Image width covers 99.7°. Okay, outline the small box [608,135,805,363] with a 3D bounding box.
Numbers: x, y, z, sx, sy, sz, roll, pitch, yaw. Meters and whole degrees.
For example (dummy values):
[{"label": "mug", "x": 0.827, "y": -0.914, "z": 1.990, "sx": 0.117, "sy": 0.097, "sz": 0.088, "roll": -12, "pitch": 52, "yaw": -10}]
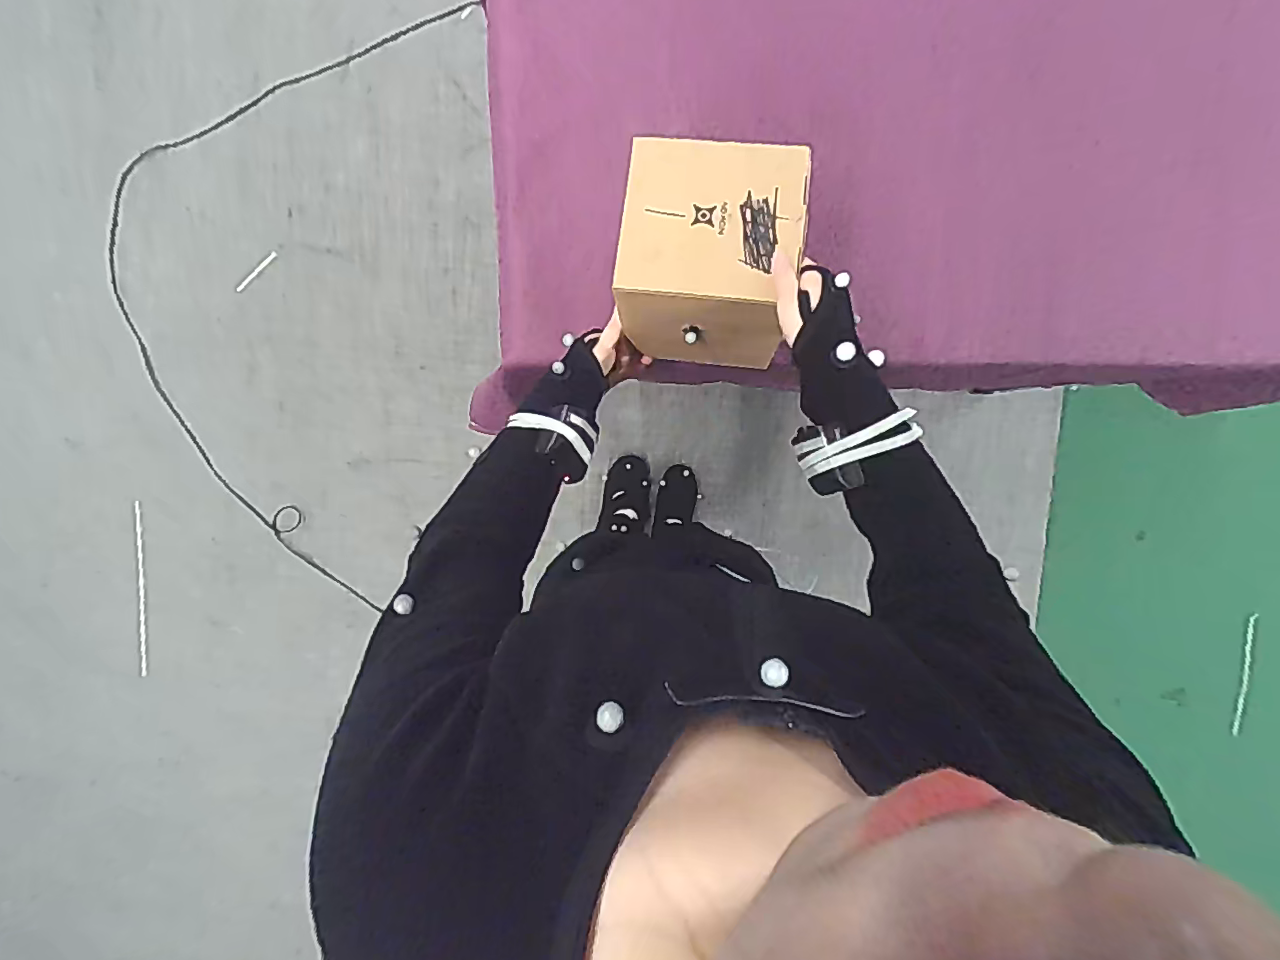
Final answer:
[{"label": "small box", "x": 0.070, "y": -0.241, "z": 0.600, "sx": 0.179, "sy": 0.176, "sz": 0.168, "roll": 7, "pitch": 81, "yaw": 5}]
